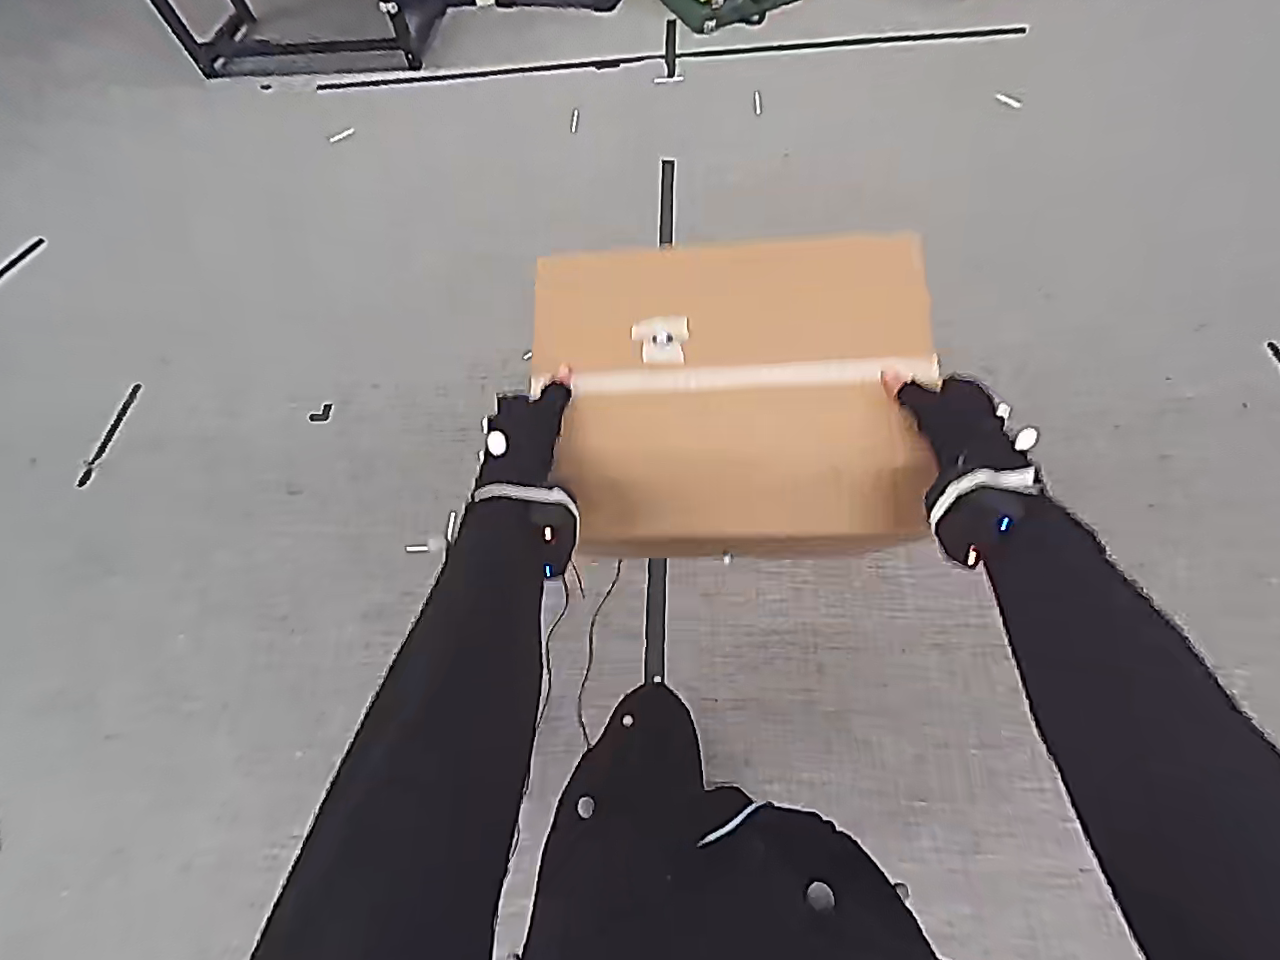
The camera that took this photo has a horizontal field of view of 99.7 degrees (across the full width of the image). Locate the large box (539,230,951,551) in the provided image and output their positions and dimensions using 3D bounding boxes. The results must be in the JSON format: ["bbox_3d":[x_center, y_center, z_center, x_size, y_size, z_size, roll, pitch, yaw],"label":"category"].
[{"bbox_3d":[0.110,-0.074,0.698,0.408,0.320,0.320,-2,77,6],"label":"large box"}]
